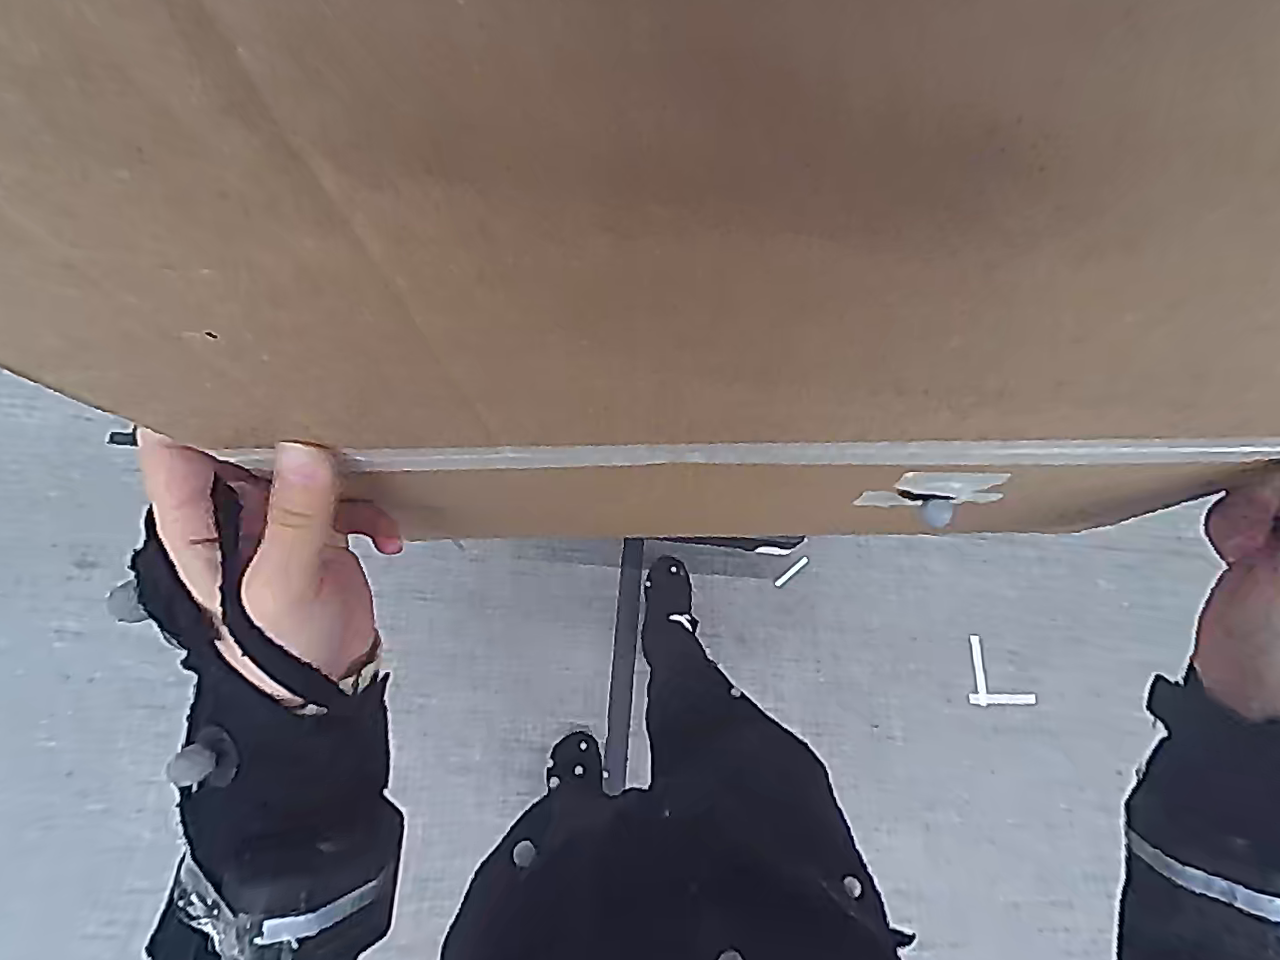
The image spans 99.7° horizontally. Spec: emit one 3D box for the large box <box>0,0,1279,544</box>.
[{"bbox_3d":[0.049,-0.157,0.240,0.408,0.320,0.320,-2,73,1],"label":"large box"}]
